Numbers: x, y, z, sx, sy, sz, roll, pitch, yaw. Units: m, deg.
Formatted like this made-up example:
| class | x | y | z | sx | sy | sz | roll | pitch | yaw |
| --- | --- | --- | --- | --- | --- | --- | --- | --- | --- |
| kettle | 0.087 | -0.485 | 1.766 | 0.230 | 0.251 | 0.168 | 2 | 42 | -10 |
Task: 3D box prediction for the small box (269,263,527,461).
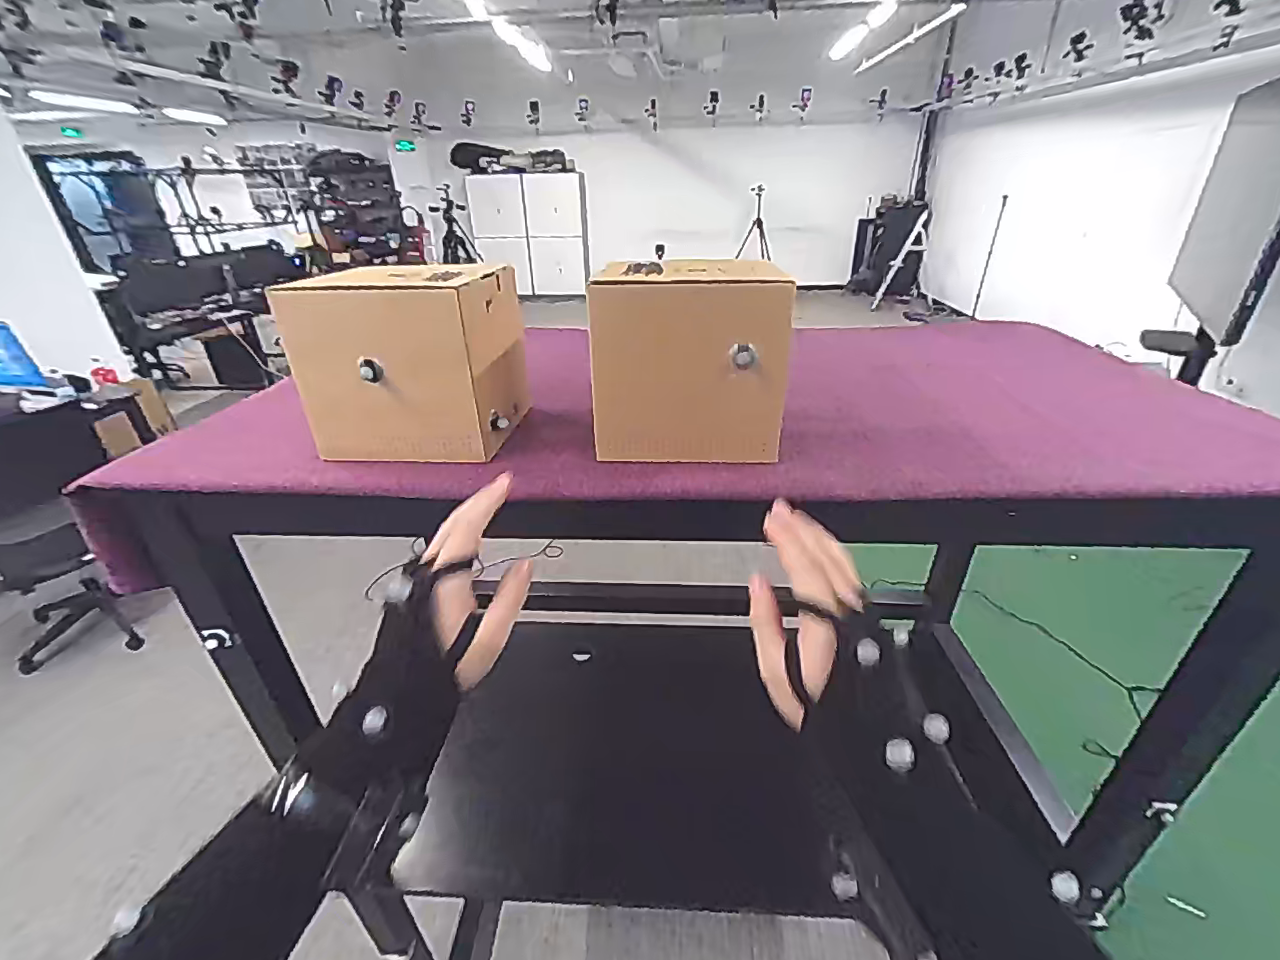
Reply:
| class | x | y | z | sx | sy | sz | roll | pitch | yaw |
| --- | --- | --- | --- | --- | --- | --- | --- | --- | --- |
| small box | -0.228 | -0.126 | 0.568 | 0.179 | 0.176 | 0.168 | 0 | 28 | 5 |
